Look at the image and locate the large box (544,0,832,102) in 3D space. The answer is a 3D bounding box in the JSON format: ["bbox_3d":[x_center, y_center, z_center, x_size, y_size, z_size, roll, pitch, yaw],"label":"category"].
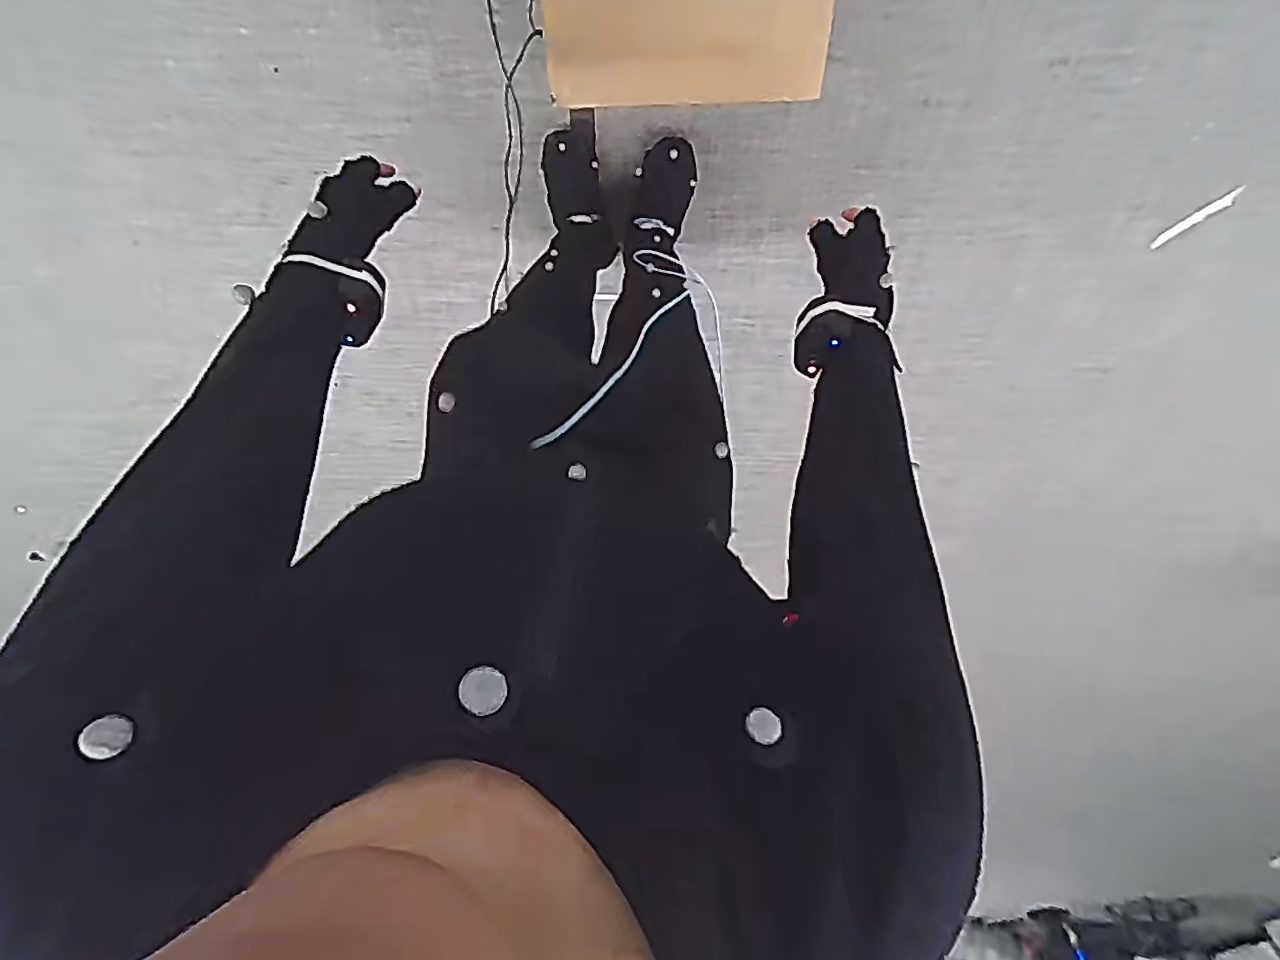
[{"bbox_3d":[0.072,-0.791,0.824,0.408,0.320,0.320,1,131,3],"label":"large box"}]
